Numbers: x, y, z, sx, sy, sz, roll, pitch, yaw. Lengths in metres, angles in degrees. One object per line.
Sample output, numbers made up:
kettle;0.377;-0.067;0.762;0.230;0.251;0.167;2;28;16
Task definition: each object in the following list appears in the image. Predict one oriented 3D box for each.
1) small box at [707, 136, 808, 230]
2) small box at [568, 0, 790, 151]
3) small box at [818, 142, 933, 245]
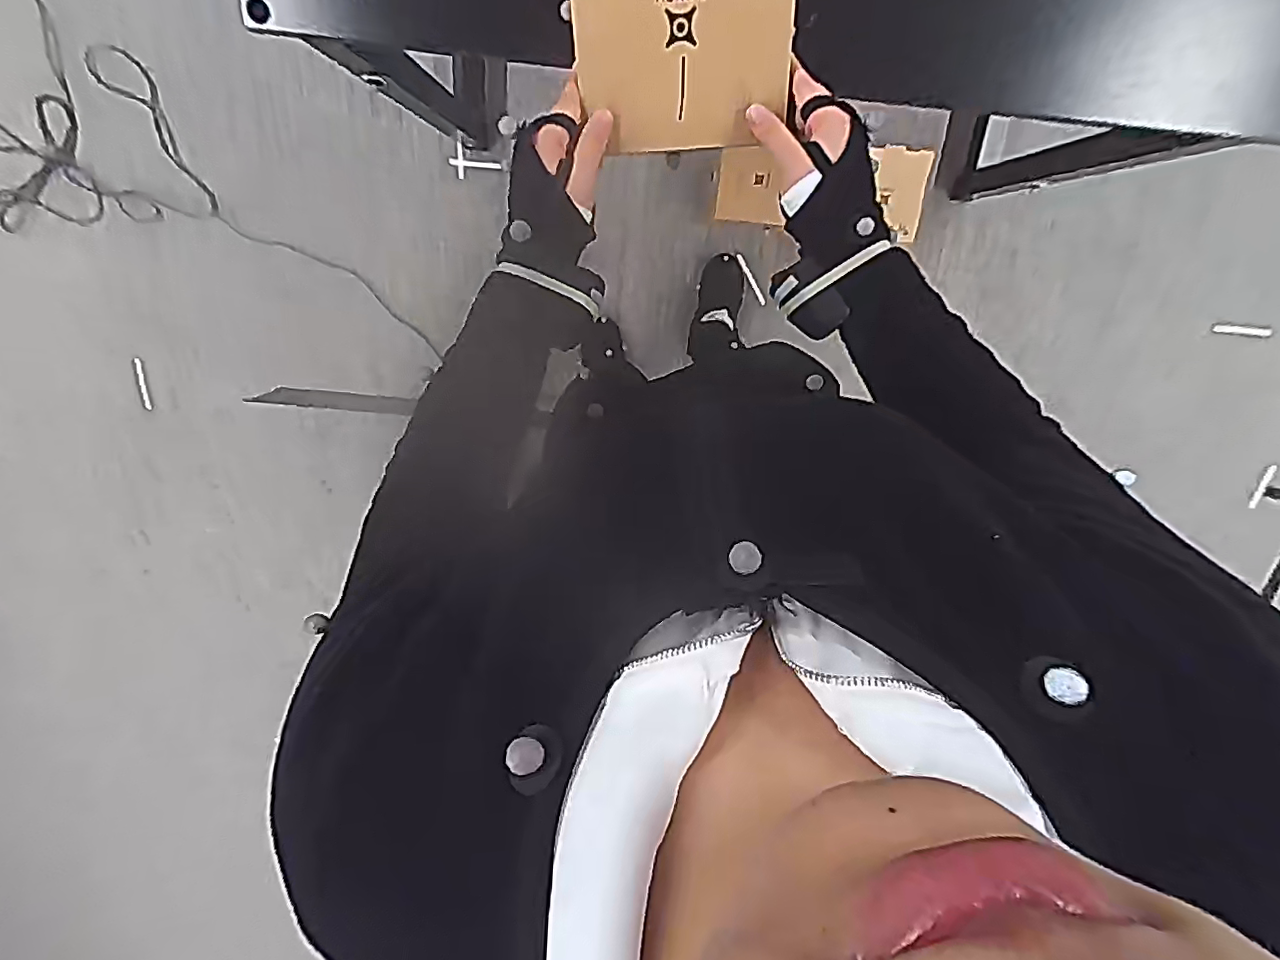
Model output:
small box;0.251;-0.657;1.200;0.179;0.176;0.168;5;111;0
small box;0.030;-0.389;0.465;0.168;0.176;0.179;-1;122;4
small box;0.513;-0.630;1.206;0.168;0.176;0.179;4;111;0
